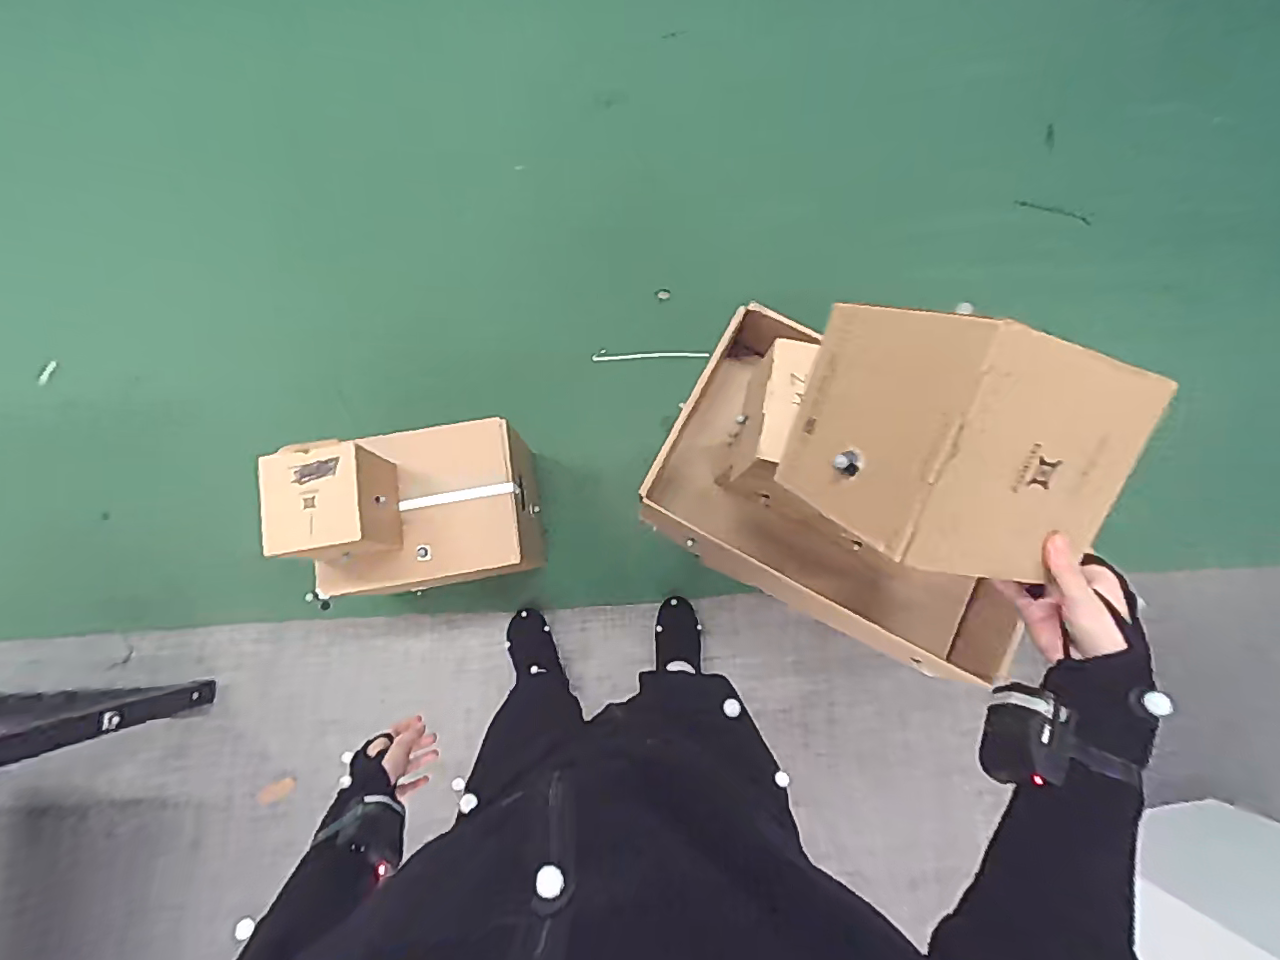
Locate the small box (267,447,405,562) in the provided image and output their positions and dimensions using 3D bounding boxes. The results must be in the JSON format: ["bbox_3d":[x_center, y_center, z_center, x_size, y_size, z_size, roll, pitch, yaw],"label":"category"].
[{"bbox_3d":[-0.557,0.052,1.006,0.168,0.176,0.179,-9,80,-2],"label":"small box"}]
